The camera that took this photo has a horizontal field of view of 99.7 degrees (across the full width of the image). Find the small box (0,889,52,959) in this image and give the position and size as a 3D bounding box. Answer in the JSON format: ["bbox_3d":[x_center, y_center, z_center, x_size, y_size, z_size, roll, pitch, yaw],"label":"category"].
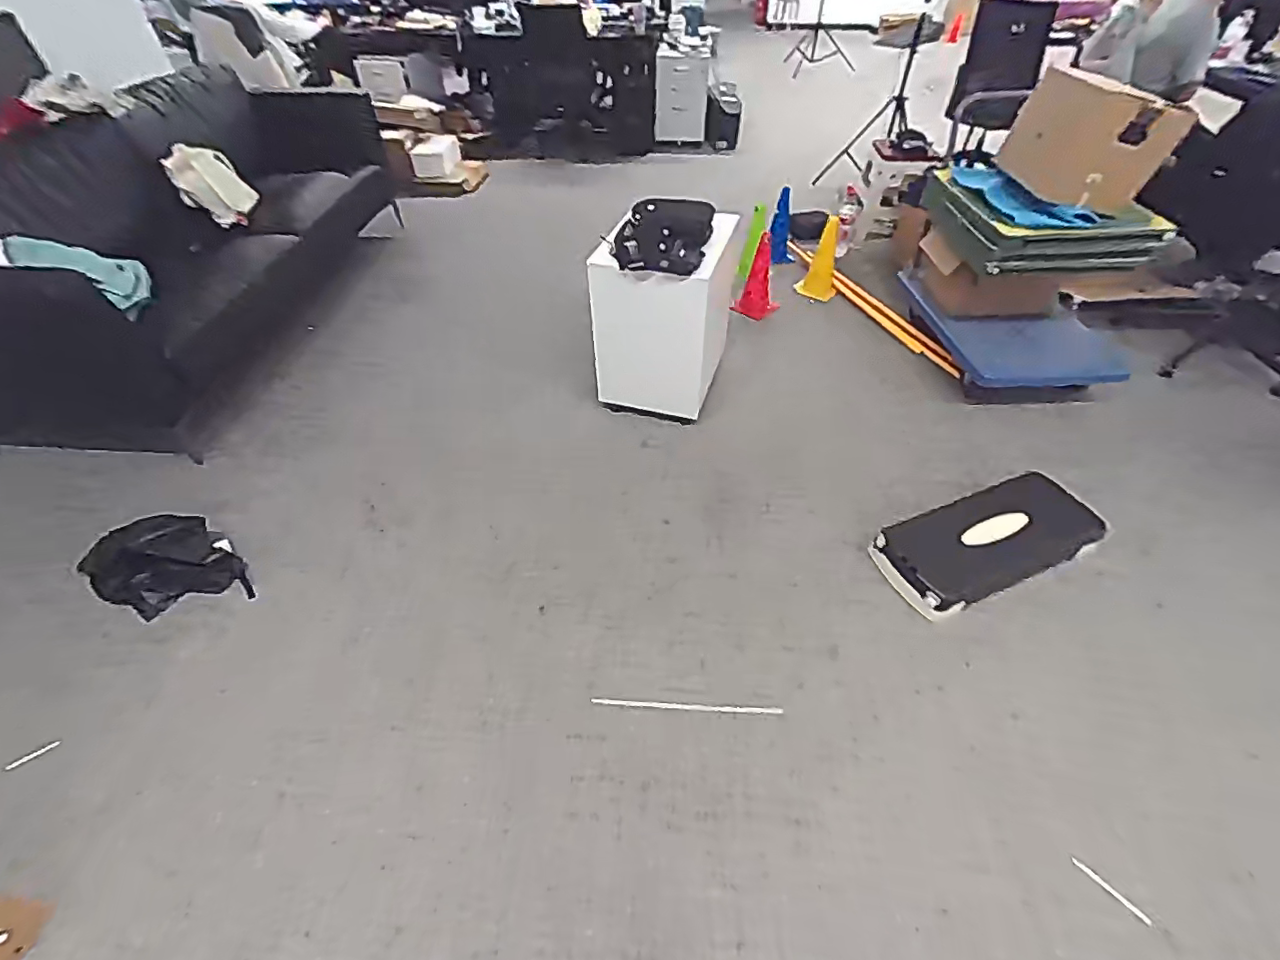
[{"bbox_3d":[-1.268,0.848,0.986,0.179,0.176,0.168,7,46,8],"label":"small box"}]
